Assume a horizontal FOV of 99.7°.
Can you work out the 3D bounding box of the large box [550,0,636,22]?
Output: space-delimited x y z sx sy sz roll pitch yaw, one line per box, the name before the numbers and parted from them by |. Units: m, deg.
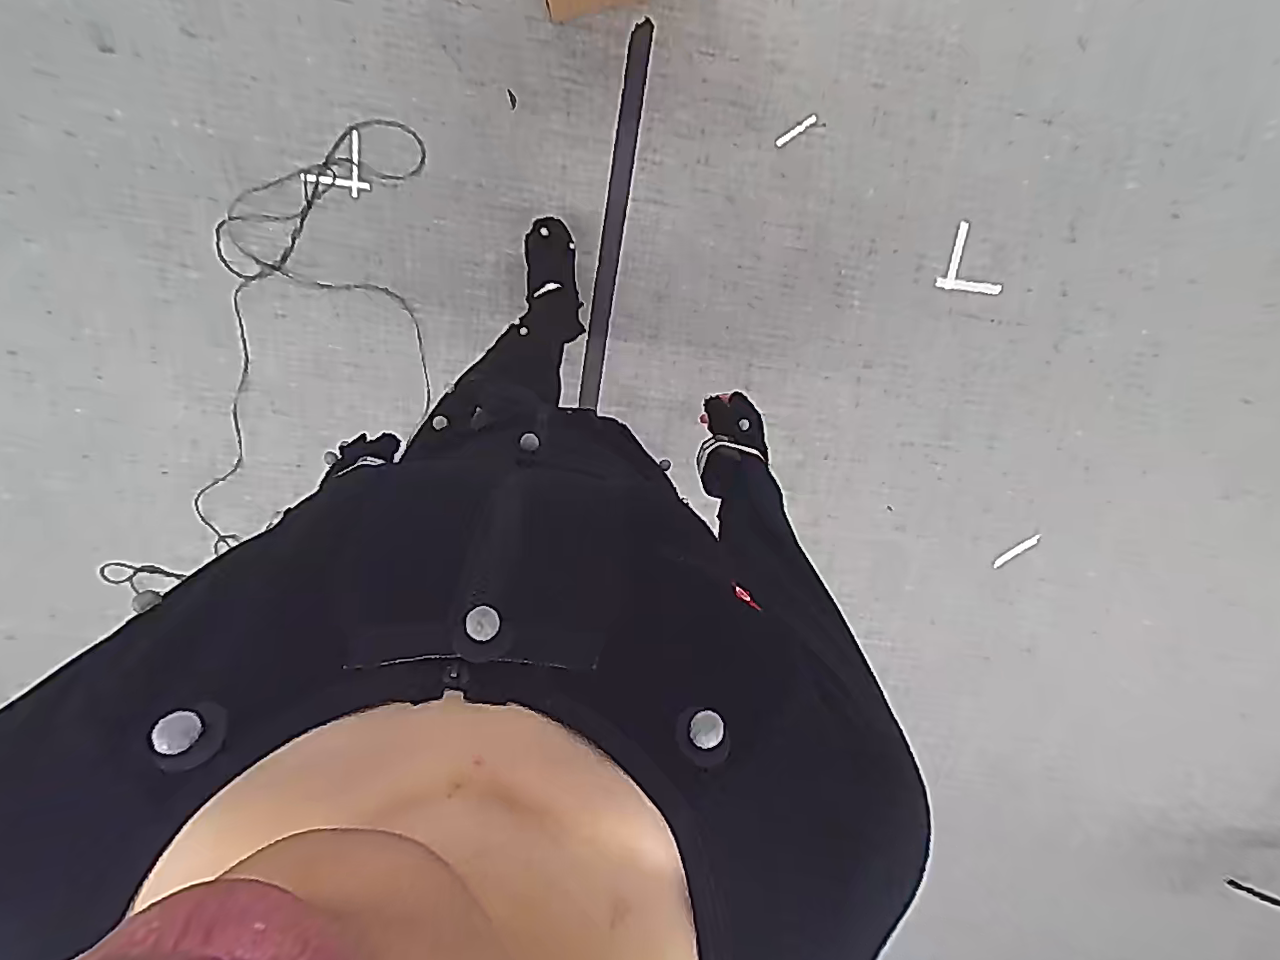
large box | -0.024 -1.148 0.999 0.408 0.320 0.320 -15 107 2
